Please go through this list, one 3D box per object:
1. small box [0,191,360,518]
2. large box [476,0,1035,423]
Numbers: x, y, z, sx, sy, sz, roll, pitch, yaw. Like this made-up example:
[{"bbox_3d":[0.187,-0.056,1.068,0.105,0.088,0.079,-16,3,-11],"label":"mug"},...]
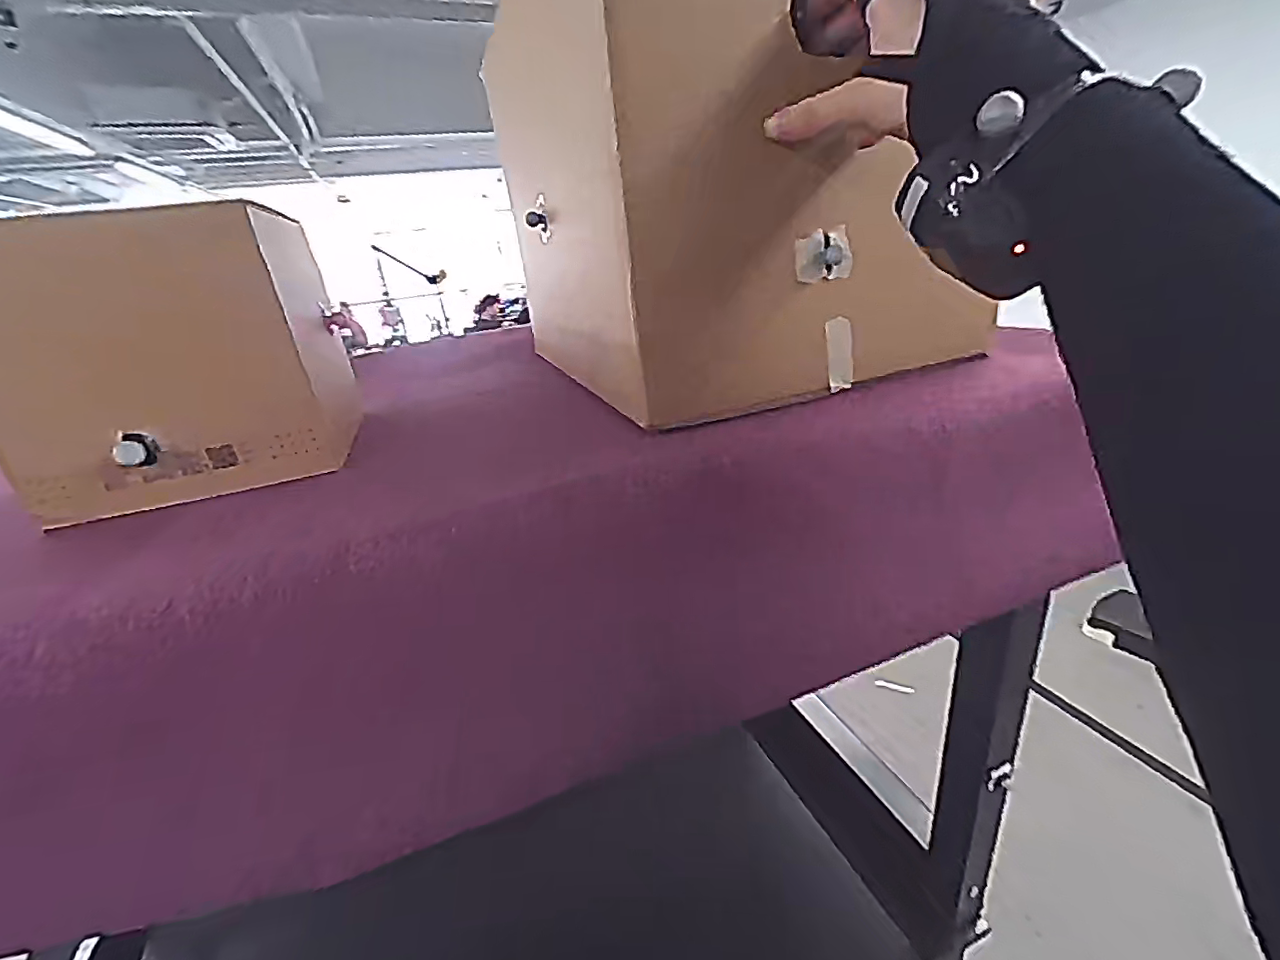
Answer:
[{"bbox_3d":[-0.314,-0.093,0.380,0.168,0.176,0.179,-15,25,-16],"label":"small box"},{"bbox_3d":[0.058,-0.267,0.504,0.320,0.320,0.408,-14,23,-17],"label":"large box"}]
